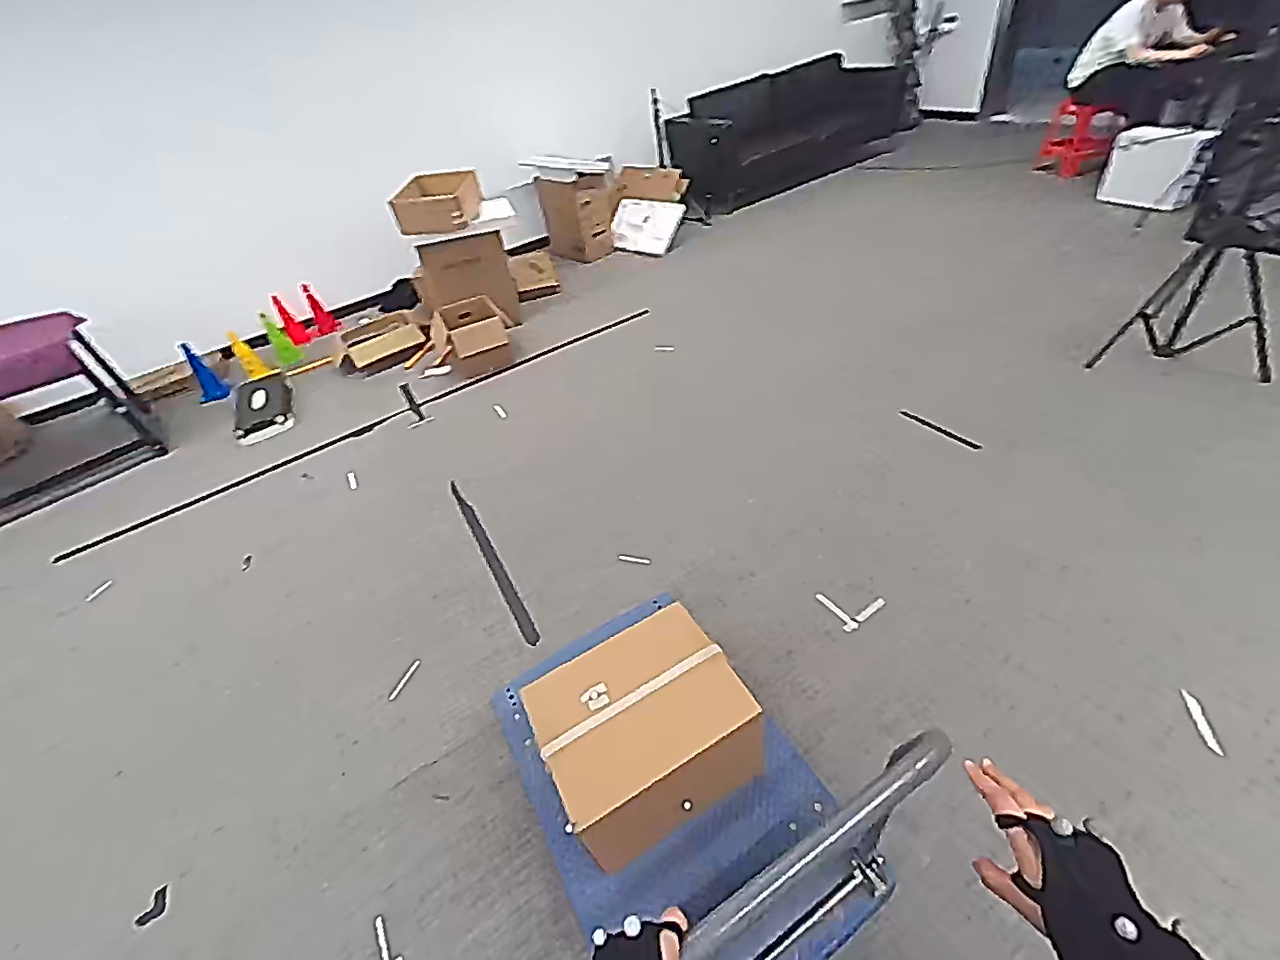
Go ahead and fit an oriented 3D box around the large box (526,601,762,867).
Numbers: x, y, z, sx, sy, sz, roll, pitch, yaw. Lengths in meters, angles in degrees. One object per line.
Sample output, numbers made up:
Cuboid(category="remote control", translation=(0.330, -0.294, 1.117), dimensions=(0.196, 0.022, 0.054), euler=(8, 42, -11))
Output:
Cuboid(category="large box", translation=(0.020, 0.555, 1.208), dimensions=(0.408, 0.320, 0.320), euler=(-26, 42, -15))
